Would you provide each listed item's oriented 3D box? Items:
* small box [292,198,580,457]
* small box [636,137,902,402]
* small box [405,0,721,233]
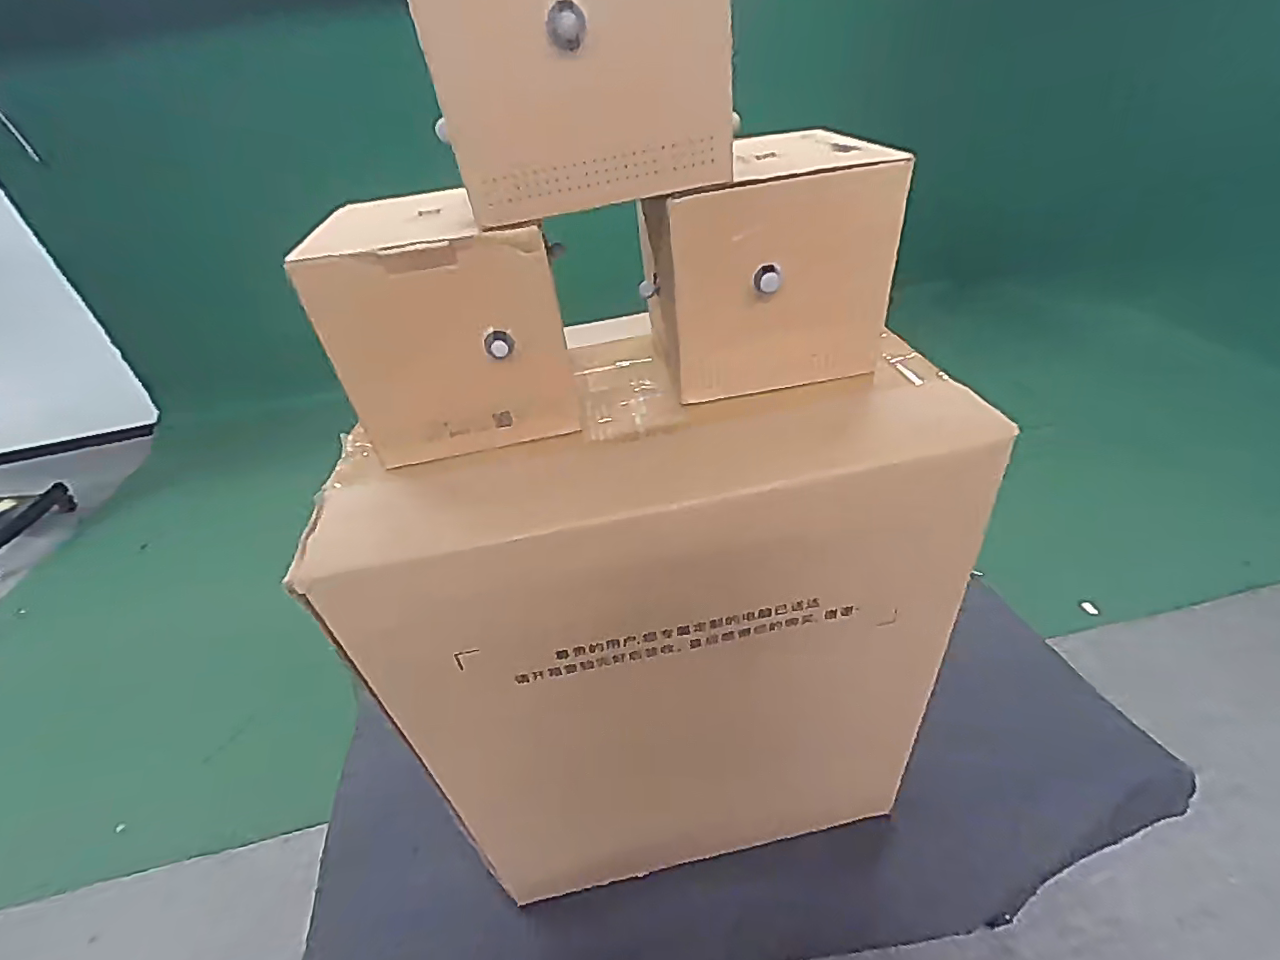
[{"bbox_3d":[-0.151,-0.133,0.465,0.168,0.176,0.179,-11,37,-5],"label":"small box"},{"bbox_3d":[0.100,-0.186,0.482,0.179,0.176,0.168,-12,39,-2],"label":"small box"},{"bbox_3d":[-0.047,-0.287,0.371,0.179,0.176,0.168,-13,39,-3],"label":"small box"}]
